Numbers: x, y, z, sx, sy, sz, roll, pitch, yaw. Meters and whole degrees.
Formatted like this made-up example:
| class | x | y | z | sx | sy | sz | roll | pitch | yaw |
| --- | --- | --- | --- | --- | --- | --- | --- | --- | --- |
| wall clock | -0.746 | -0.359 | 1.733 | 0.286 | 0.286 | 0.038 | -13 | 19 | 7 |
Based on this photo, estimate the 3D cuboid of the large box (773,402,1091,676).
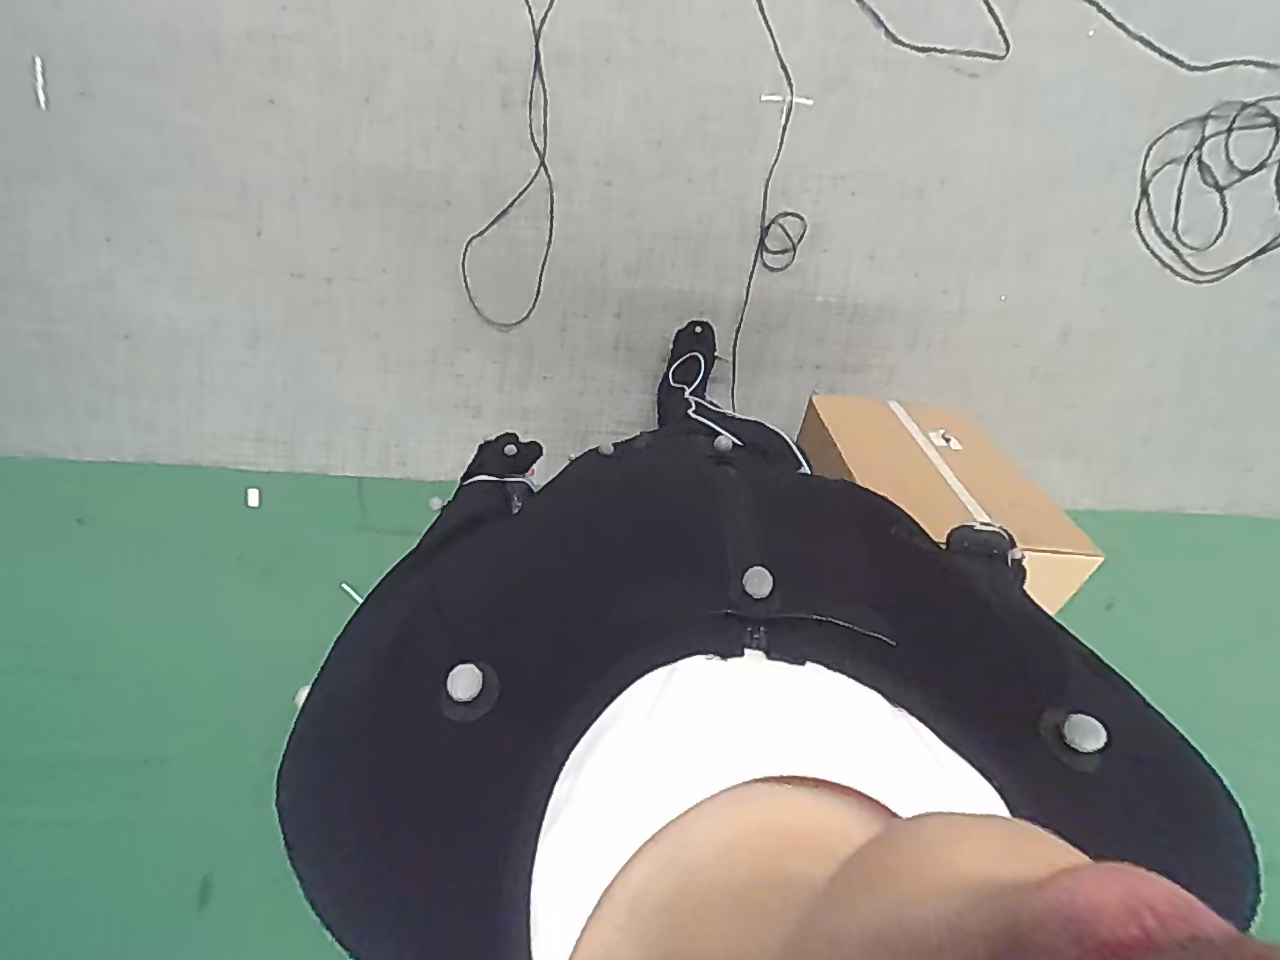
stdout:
| class | x | y | z | sx | sy | sz | roll | pitch | yaw |
| --- | --- | --- | --- | --- | --- | --- | --- | --- | --- |
| large box | 0.463 | 0.096 | 0.986 | 0.320 | 0.408 | 0.320 | 5 | 126 | -4 |
